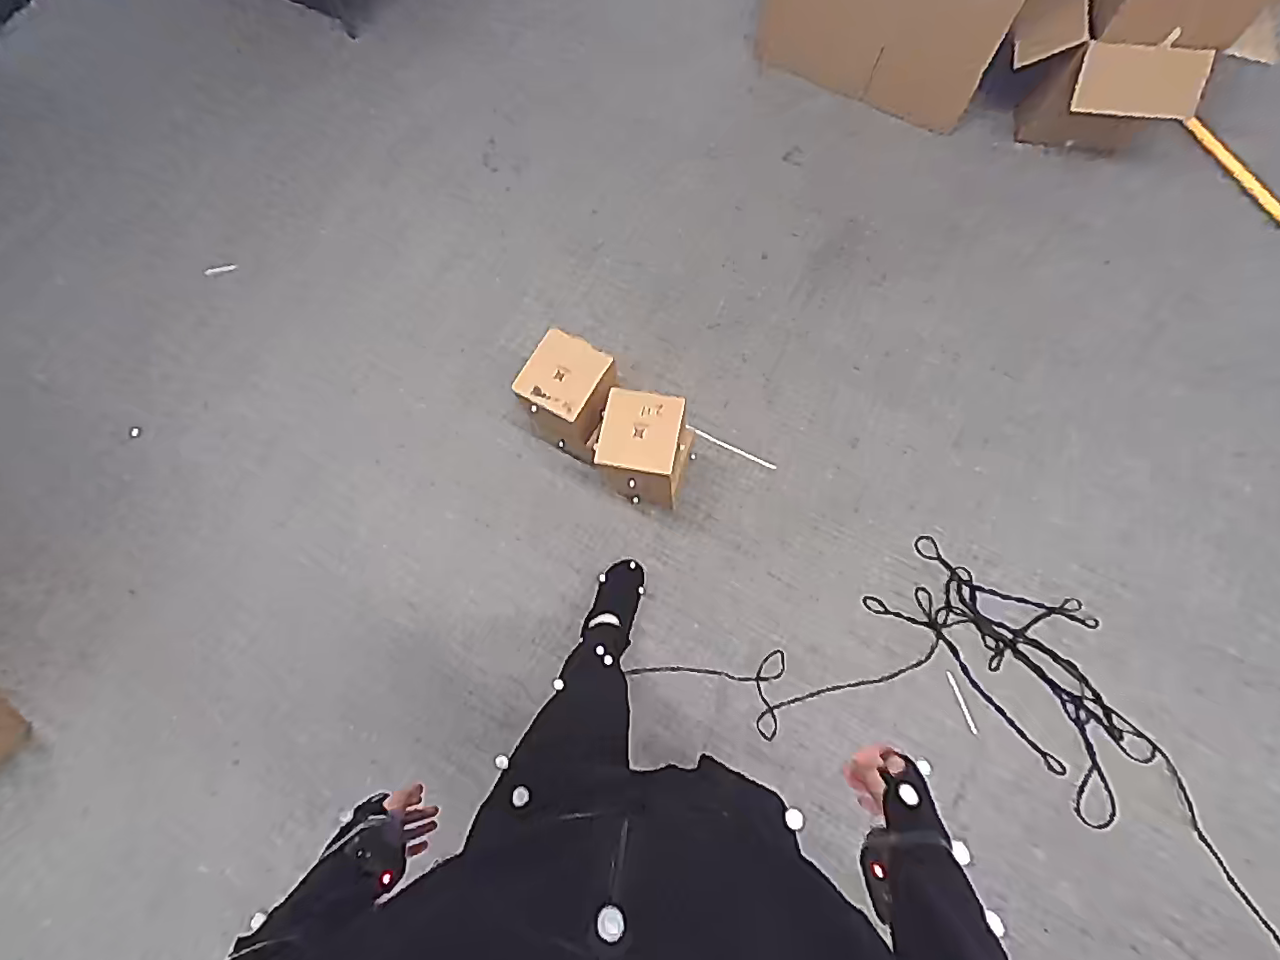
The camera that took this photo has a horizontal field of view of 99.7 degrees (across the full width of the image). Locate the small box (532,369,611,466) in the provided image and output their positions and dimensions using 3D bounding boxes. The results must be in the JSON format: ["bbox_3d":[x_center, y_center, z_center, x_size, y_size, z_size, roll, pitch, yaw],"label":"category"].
[{"bbox_3d":[-0.149,-0.153,1.406,0.179,0.176,0.168,27,76,11],"label":"small box"}]

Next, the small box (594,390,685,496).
[{"bbox_3d":[0.006,-0.075,1.205,0.168,0.176,0.179,10,74,7],"label":"small box"}]
